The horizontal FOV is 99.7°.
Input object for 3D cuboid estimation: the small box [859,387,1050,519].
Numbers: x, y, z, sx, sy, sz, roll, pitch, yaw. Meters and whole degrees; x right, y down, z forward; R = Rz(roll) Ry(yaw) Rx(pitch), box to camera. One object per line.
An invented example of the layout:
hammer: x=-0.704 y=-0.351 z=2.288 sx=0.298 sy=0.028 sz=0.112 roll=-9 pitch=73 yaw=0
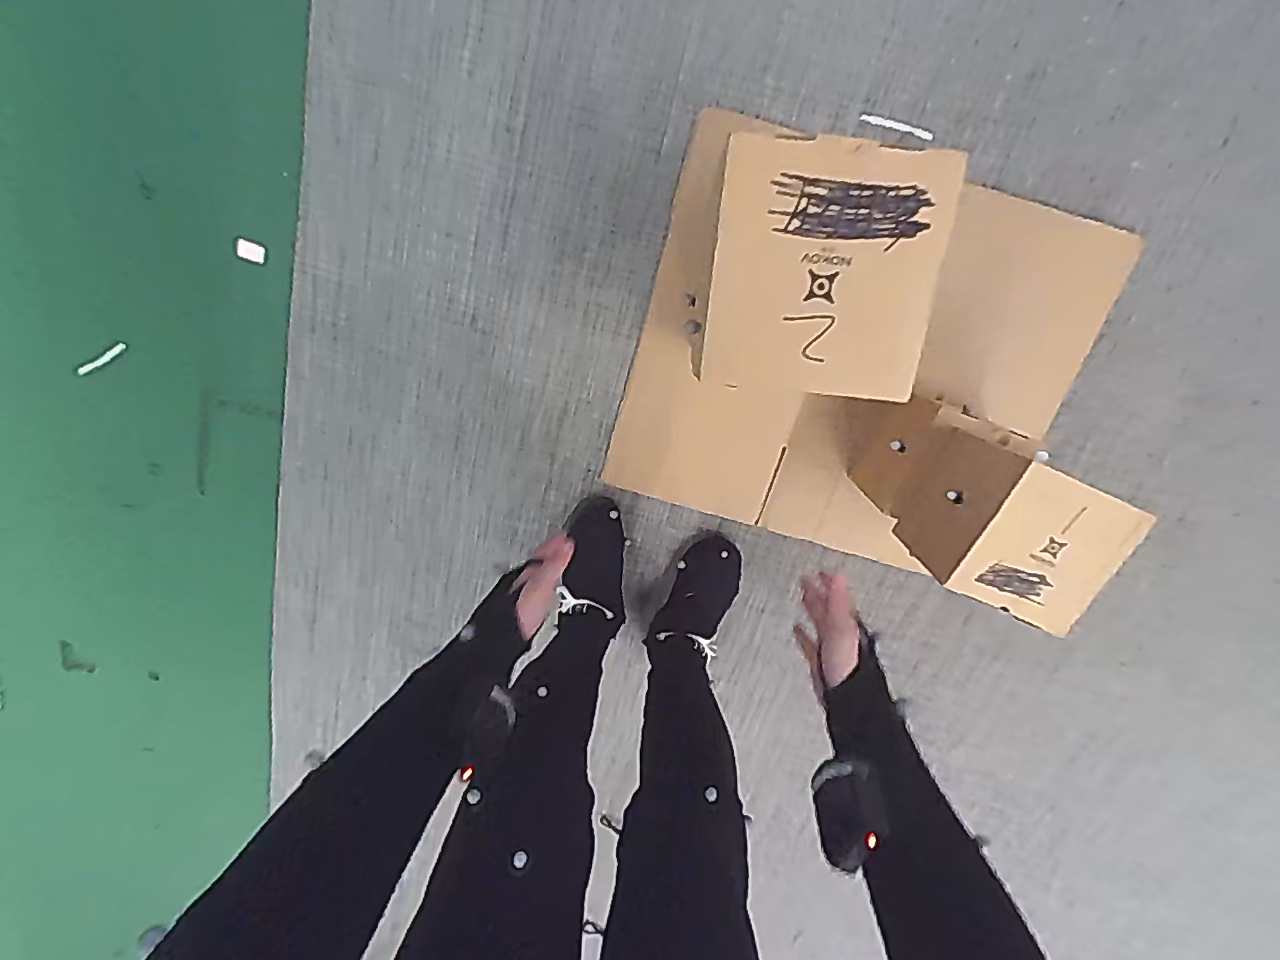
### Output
small box: x=0.465 y=-0.029 z=0.837 sx=0.168 sy=0.176 sz=0.179 roll=20 pitch=107 yaw=-2

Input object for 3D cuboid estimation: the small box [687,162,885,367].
small box: x=0.149 y=-0.237 z=0.622 sx=0.168 sy=0.176 sz=0.179 roll=9 pitch=107 yaw=0

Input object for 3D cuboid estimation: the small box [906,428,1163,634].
small box: x=0.473 y=0.055 z=0.690 sx=0.168 sy=0.176 sz=0.179 roll=24 pitch=107 yaw=-4
